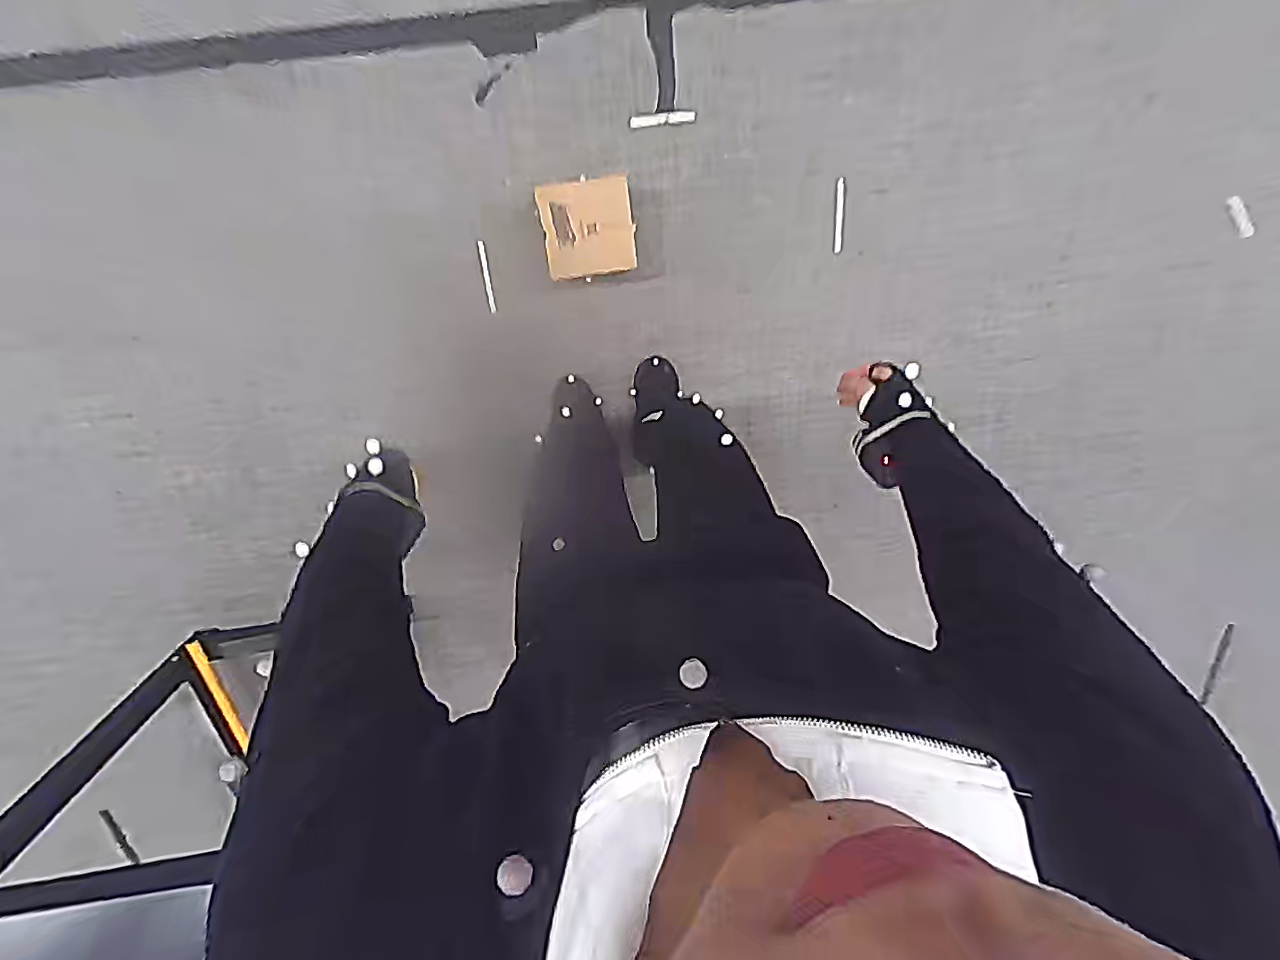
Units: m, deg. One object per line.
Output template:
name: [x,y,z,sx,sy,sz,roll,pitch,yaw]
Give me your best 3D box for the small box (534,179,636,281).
small box: [-0.110,-0.506,1.112,0.179,0.176,0.168,-10,113,-3]
